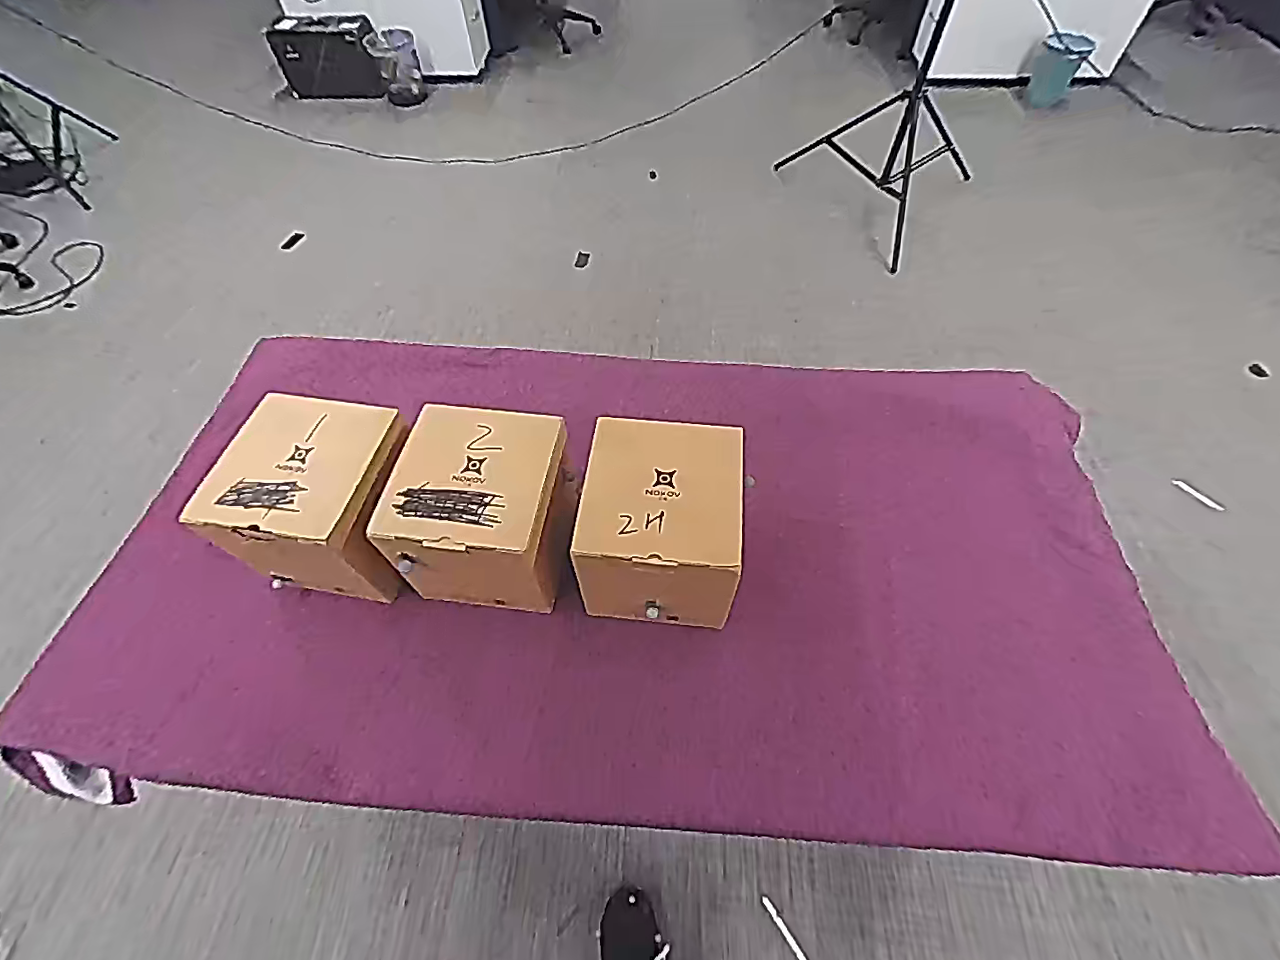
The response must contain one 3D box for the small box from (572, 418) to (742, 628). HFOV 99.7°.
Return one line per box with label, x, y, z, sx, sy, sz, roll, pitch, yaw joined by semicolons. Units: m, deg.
small box;0.025;0.052;0.628;0.168;0.176;0.179;4;56;5
